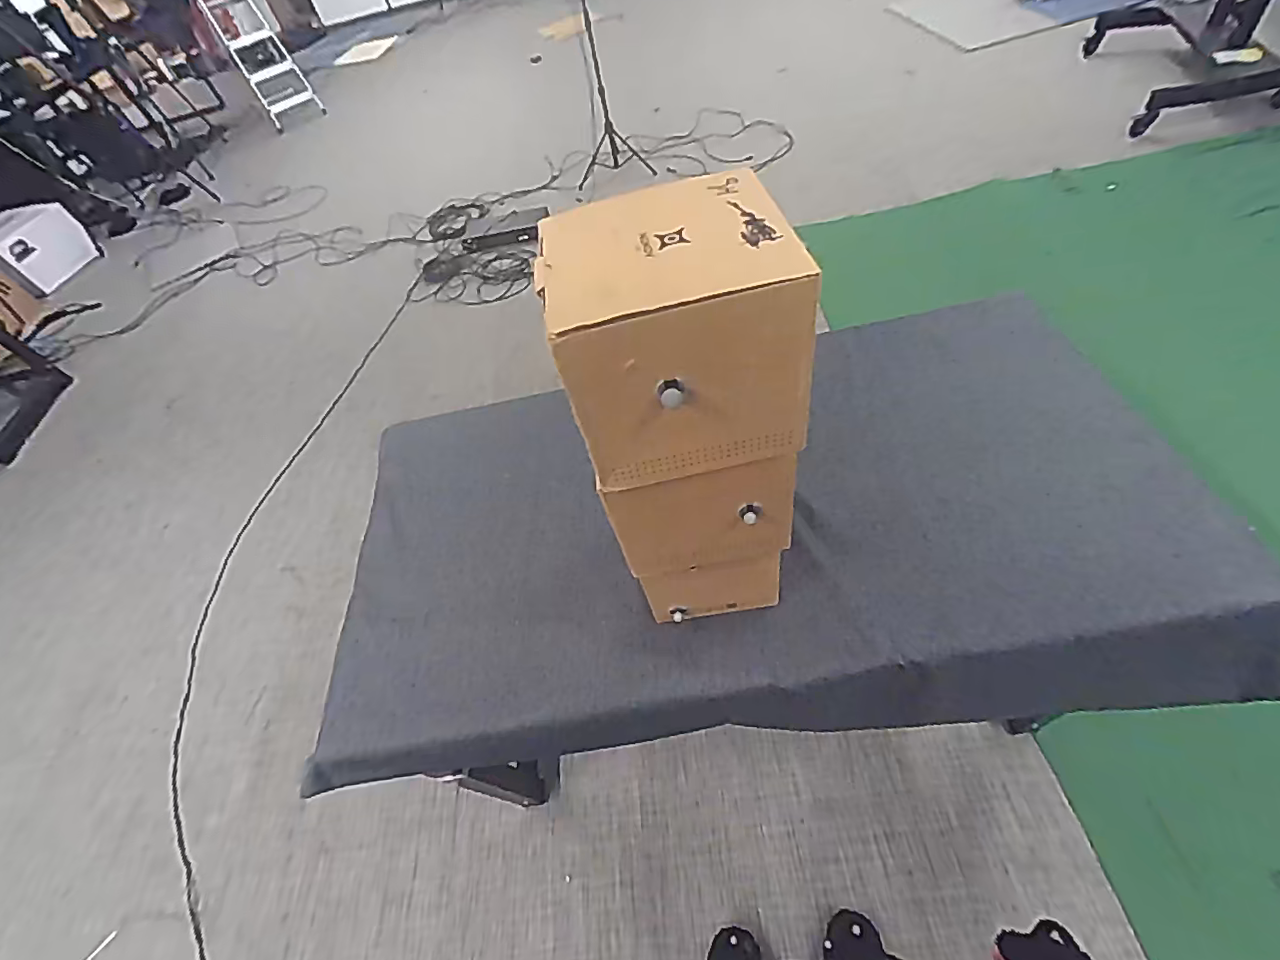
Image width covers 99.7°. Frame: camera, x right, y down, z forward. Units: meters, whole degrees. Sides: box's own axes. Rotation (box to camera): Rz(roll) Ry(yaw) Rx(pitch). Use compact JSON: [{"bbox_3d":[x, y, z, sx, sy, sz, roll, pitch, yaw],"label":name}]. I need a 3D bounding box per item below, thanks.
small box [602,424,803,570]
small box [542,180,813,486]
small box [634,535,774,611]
[{"bbox_3d":[0.053,-0.028,0.568,0.179,0.176,0.168,-14,52,1],"label":"small box"},{"bbox_3d":[0.029,-0.116,0.455,0.179,0.176,0.168,-14,49,1],"label":"small box"},{"bbox_3d":[0.081,0.061,0.720,0.168,0.176,0.179,-10,51,5],"label":"small box"}]
